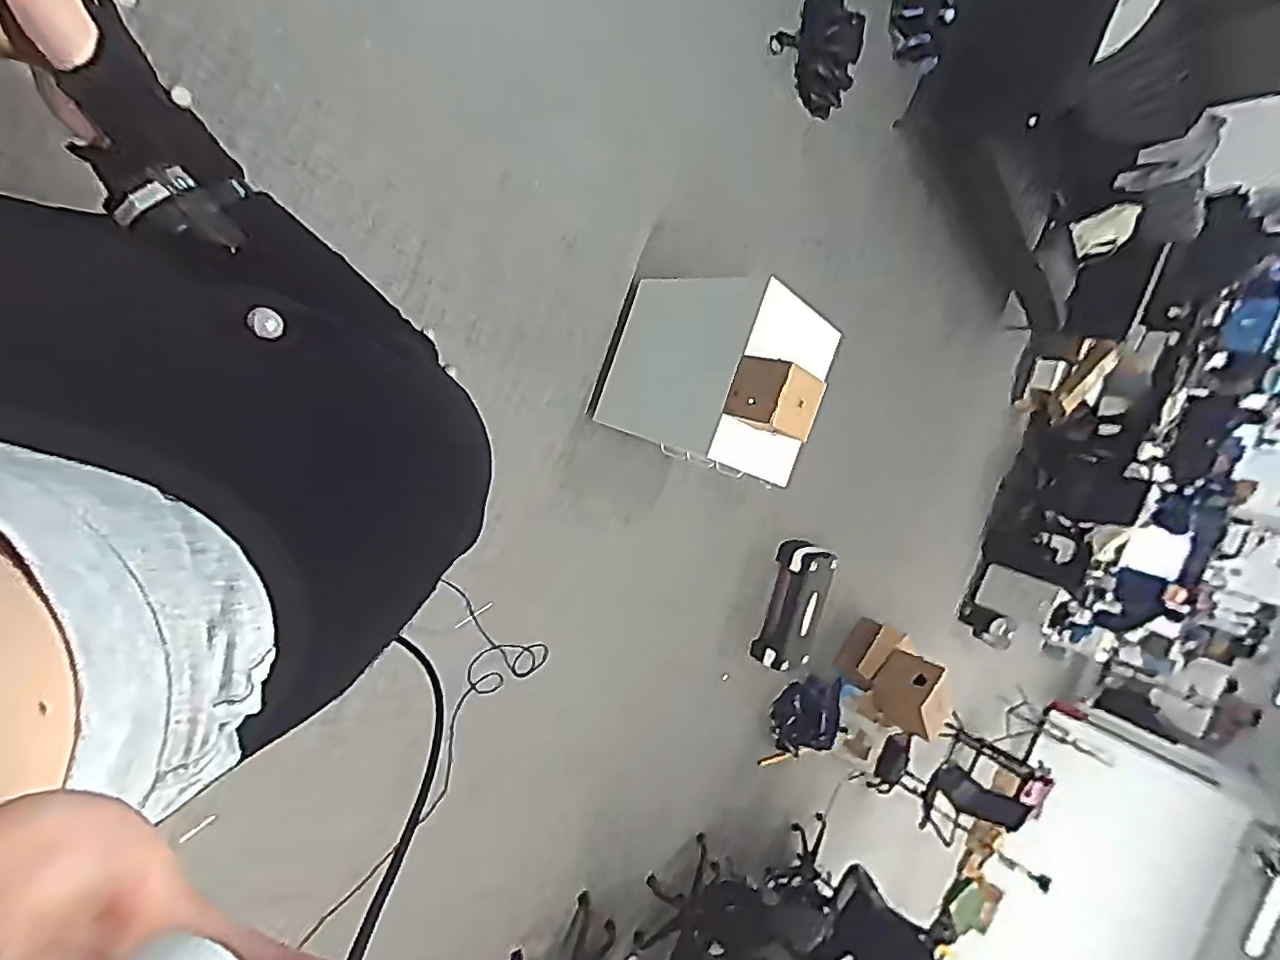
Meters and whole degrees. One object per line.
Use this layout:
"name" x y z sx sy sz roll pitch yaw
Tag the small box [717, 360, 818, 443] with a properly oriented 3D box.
"small box" 0.333 -0.211 1.432 0.179 0.176 0.168 14 96 -44
